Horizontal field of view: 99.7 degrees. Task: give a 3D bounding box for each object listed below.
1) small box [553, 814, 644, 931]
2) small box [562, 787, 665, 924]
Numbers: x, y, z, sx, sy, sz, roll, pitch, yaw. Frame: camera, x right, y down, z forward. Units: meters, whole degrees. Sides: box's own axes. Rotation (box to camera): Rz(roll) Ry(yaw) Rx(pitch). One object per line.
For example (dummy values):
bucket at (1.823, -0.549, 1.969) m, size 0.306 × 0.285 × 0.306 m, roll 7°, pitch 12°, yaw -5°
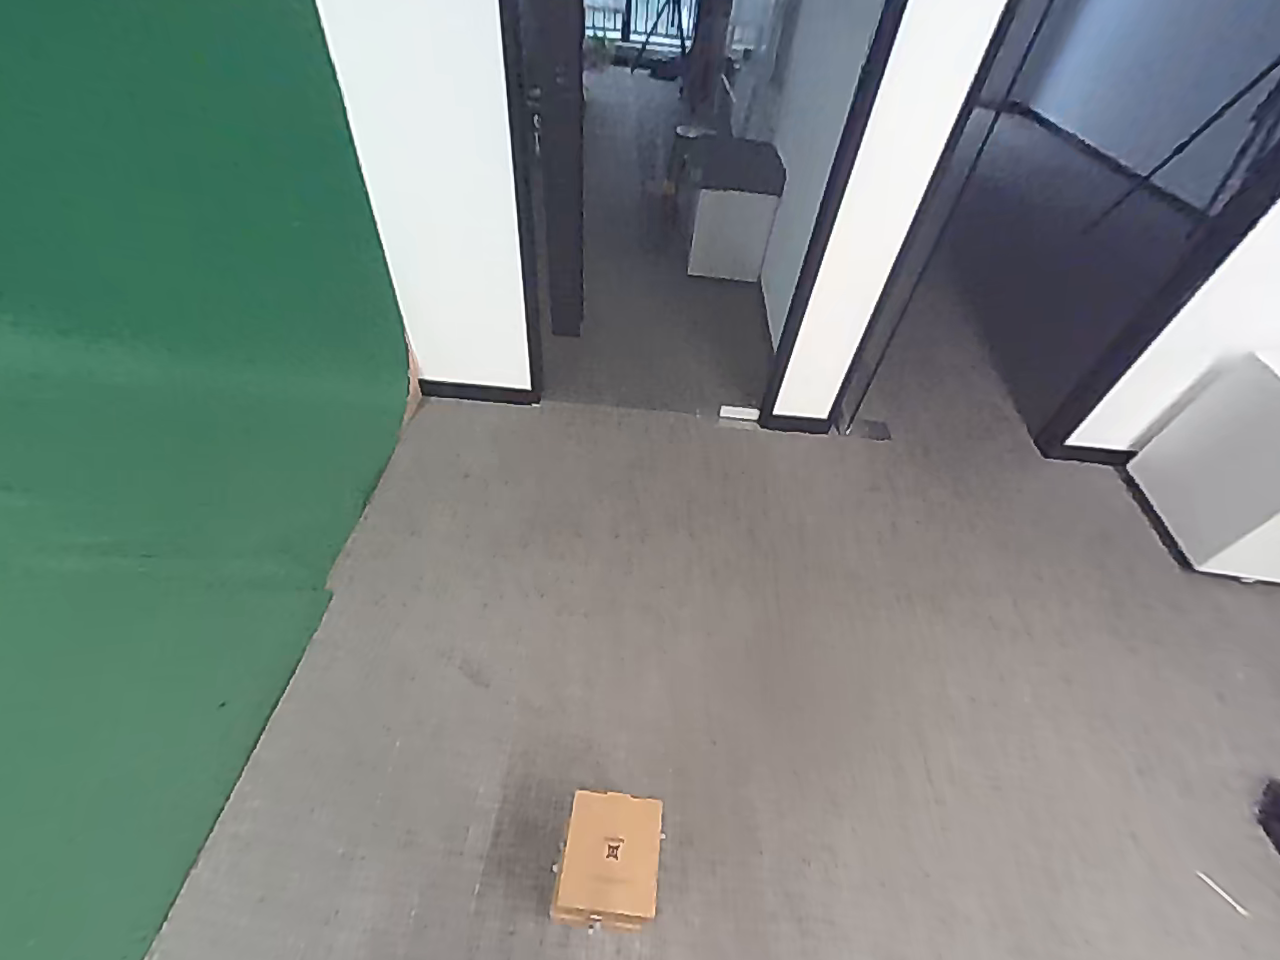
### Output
small box at (-0.075, 0.816, 1.120) m, size 0.179 × 0.176 × 0.168 m, roll 7°, pitch 46°, yaw 2°
small box at (-0.047, 0.701, 1.010) m, size 0.168 × 0.176 × 0.179 m, roll 6°, pitch 47°, yaw 1°
